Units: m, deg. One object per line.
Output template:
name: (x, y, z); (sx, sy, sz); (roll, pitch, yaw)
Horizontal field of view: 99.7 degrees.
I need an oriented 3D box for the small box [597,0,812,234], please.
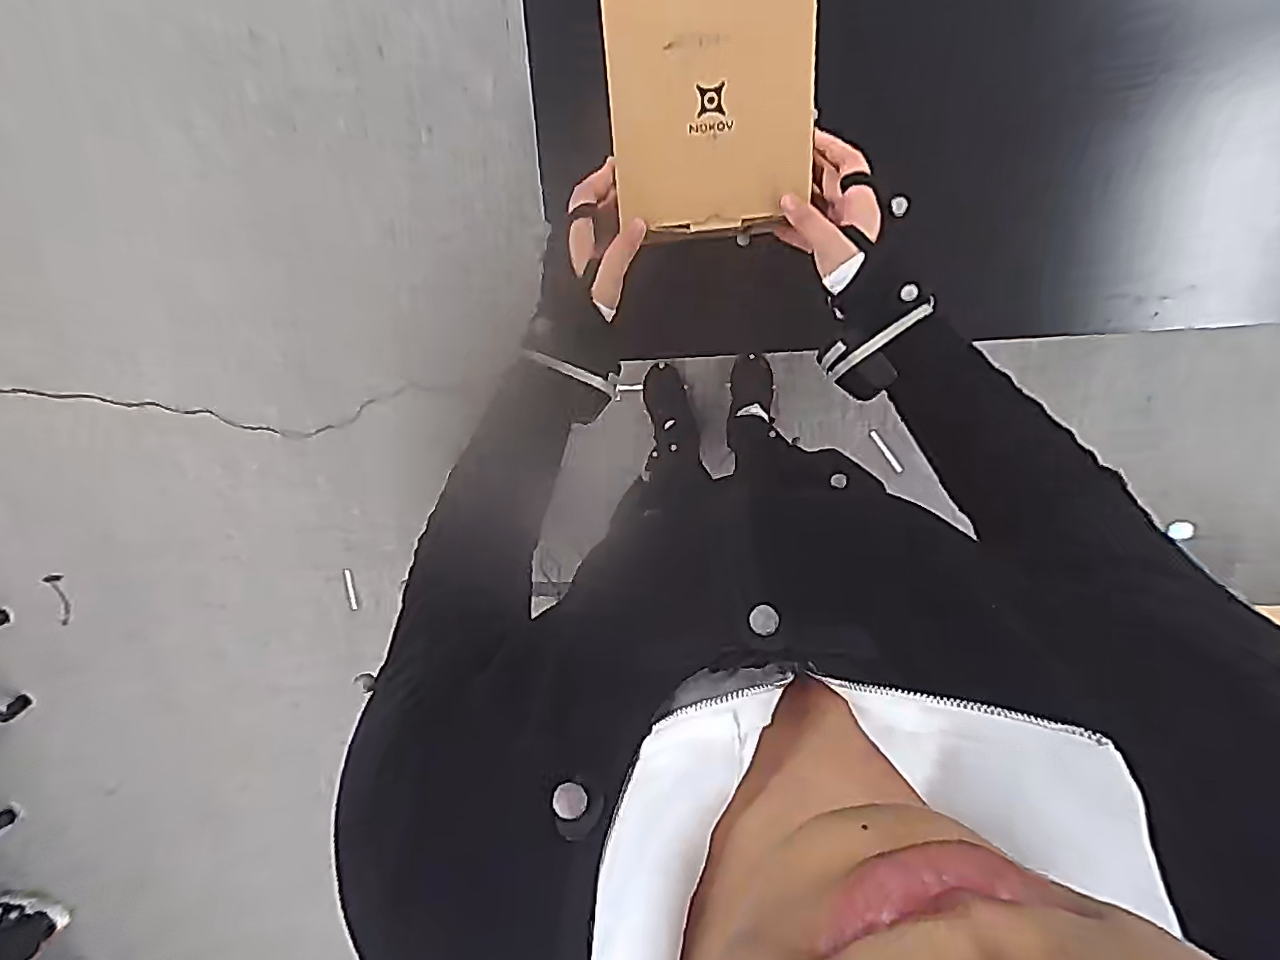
small box: (0.056, -0.334, 0.509); (0.168, 0.176, 0.179); (-5, 110, 2)
